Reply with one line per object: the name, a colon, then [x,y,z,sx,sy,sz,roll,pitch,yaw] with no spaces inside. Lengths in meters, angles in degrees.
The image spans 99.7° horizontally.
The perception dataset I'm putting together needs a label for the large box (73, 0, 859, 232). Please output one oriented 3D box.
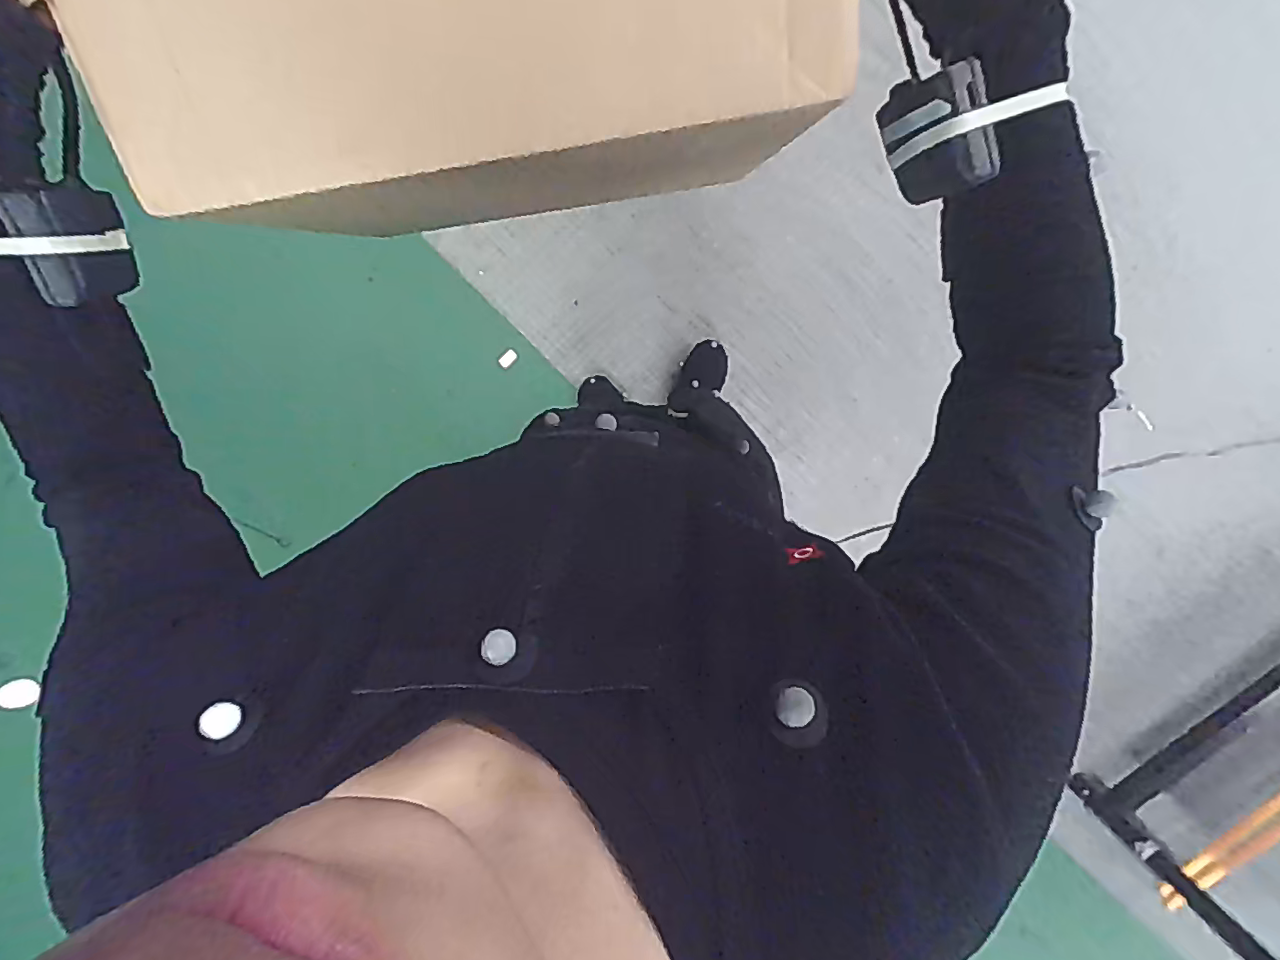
large box: [-0.106,-0.383,0.385,0.408,0.320,0.320,-9,113,1]
